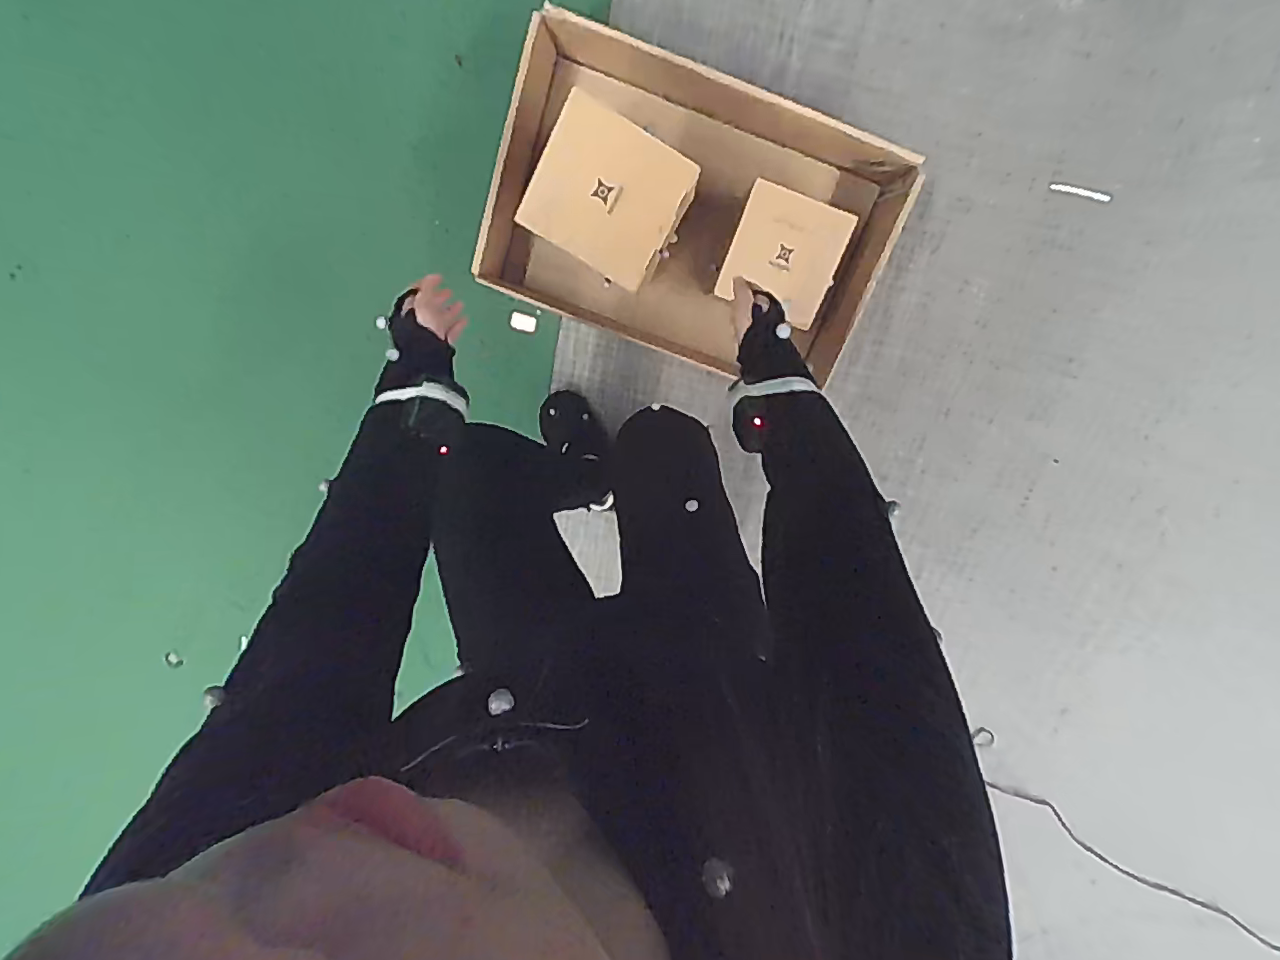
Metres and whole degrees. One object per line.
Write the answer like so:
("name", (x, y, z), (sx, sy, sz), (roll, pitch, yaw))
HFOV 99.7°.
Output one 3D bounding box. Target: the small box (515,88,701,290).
("small box", (-0.040, -0.371, 0.732), (0.179, 0.176, 0.168), (29, 107, -8))
